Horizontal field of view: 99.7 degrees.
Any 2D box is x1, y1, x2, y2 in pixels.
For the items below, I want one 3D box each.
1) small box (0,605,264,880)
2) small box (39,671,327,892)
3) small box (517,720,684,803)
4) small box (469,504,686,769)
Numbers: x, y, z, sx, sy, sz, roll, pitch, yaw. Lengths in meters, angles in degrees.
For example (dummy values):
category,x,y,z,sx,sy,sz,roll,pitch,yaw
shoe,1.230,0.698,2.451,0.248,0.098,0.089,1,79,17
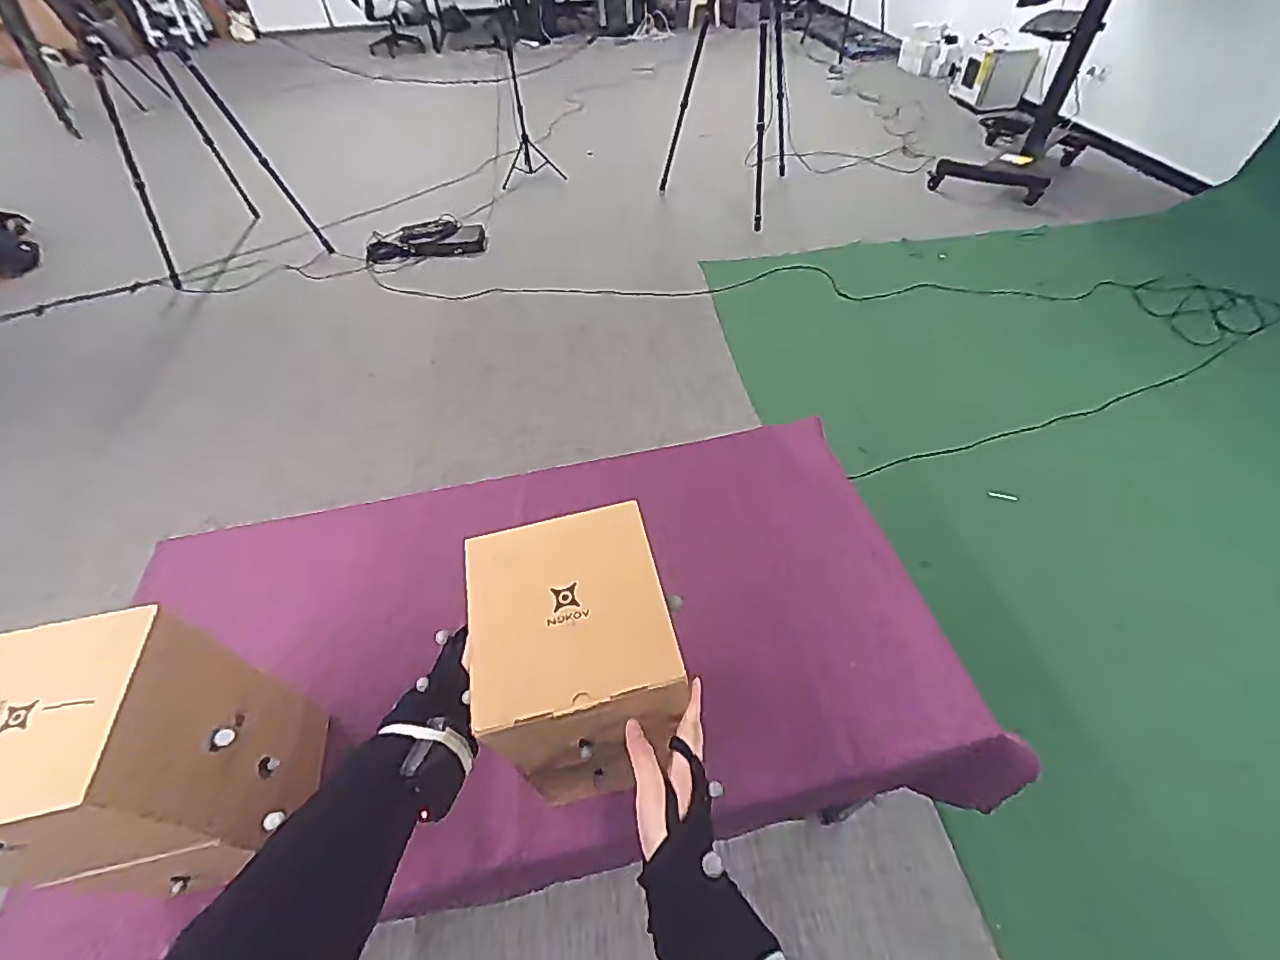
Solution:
category,x,y,z,sx,sy,sz,roll,pitch,yaw
small box,-0.495,0.241,0.492,0.179,0.176,0.168,-10,50,-7
small box,-0.487,0.347,0.618,0.168,0.176,0.179,-10,49,-7
small box,-0.049,0.272,0.659,0.179,0.176,0.168,-12,50,-6
small box,-0.058,0.153,0.522,0.168,0.176,0.179,-13,53,-5
